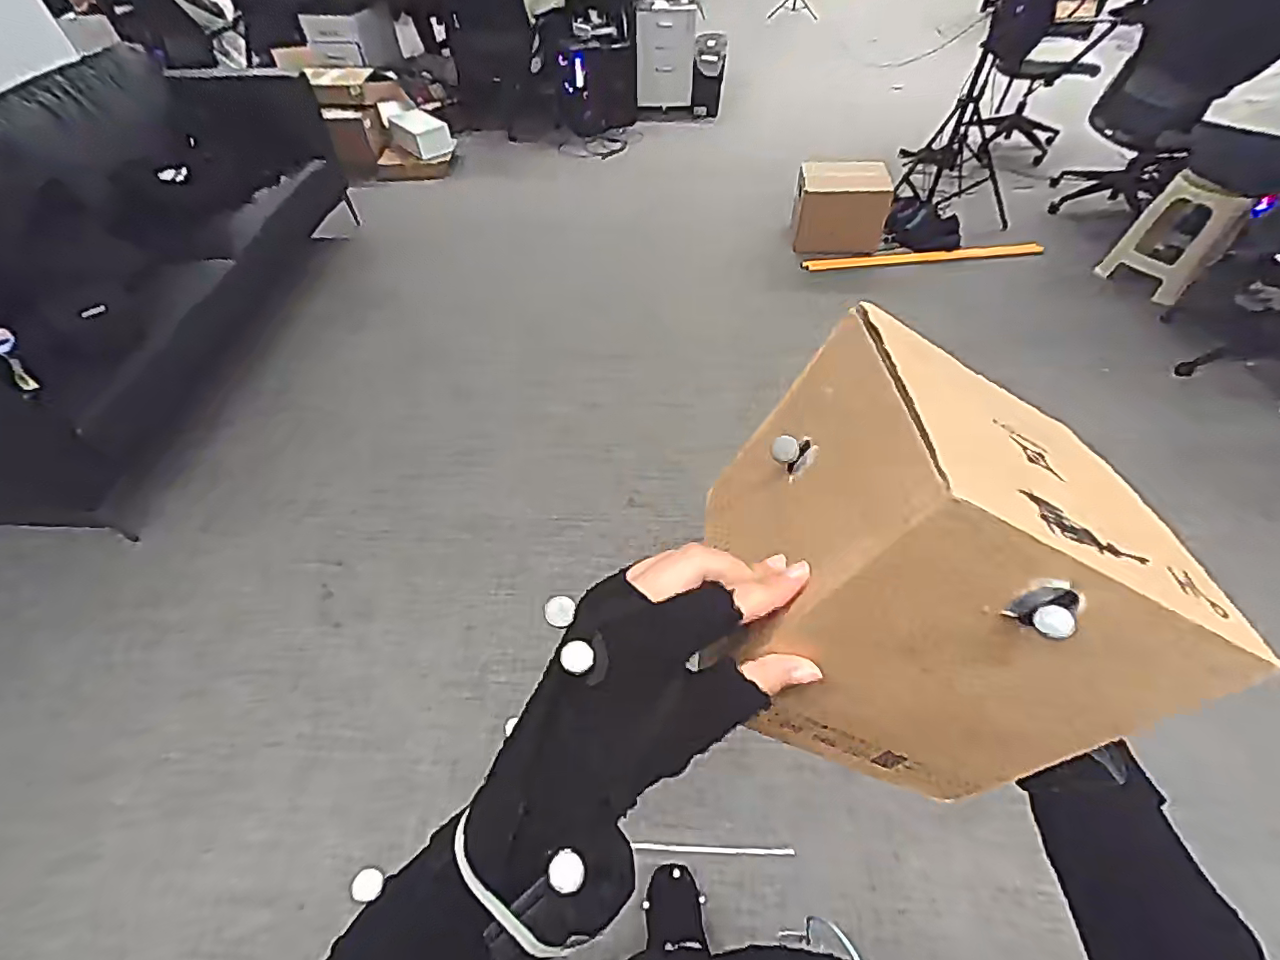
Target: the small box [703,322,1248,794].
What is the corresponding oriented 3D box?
[{"bbox_3d":[0.149,0.045,0.317,0.168,0.176,0.179,25,37,-10],"label":"small box"}]
